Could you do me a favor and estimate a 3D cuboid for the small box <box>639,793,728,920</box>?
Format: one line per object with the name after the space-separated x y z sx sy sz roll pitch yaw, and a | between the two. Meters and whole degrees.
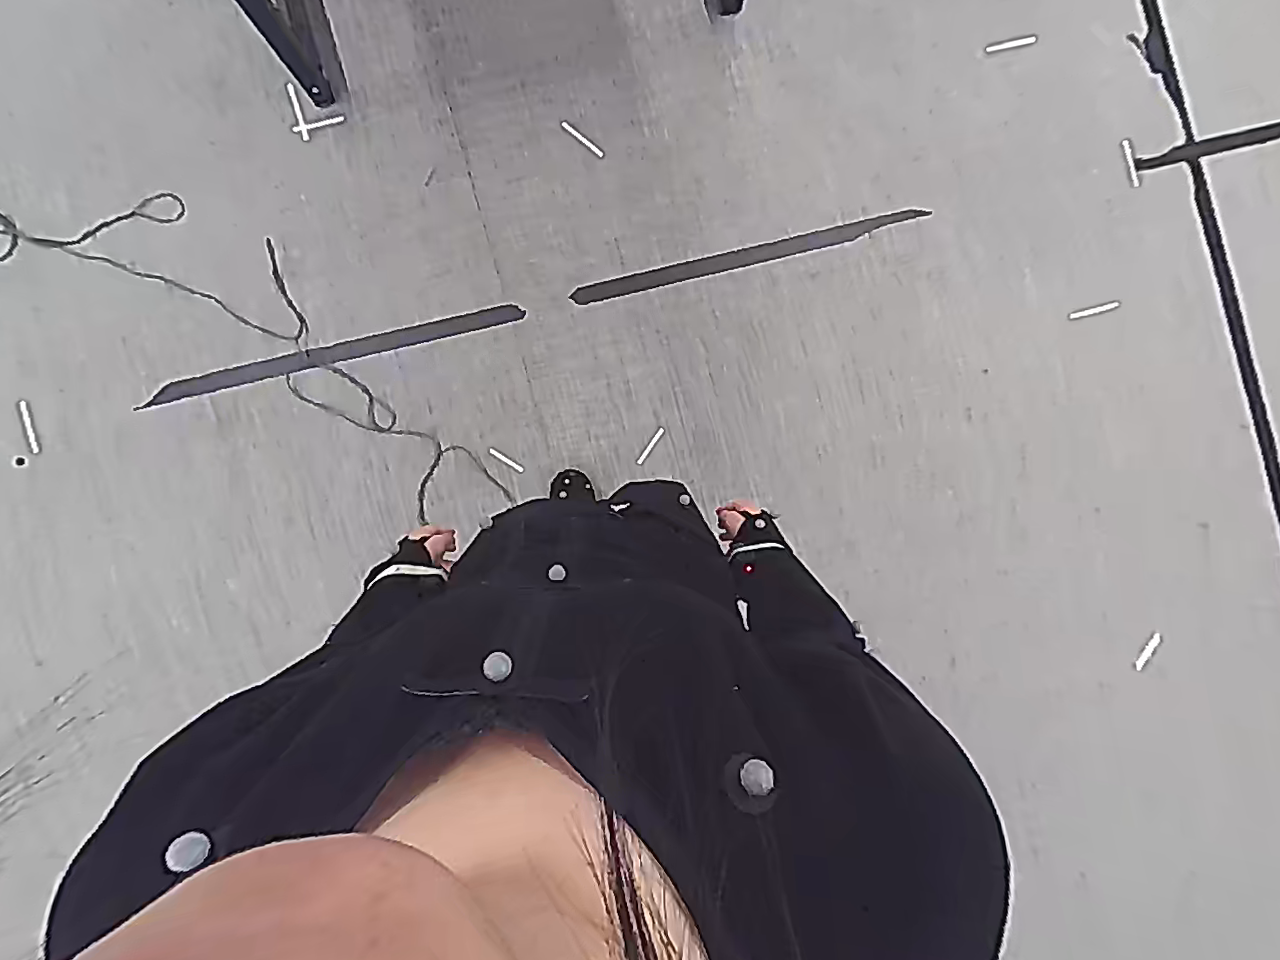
0.105 0.952 1.382 0.168 0.176 0.179 -21 92 -5 | small box
